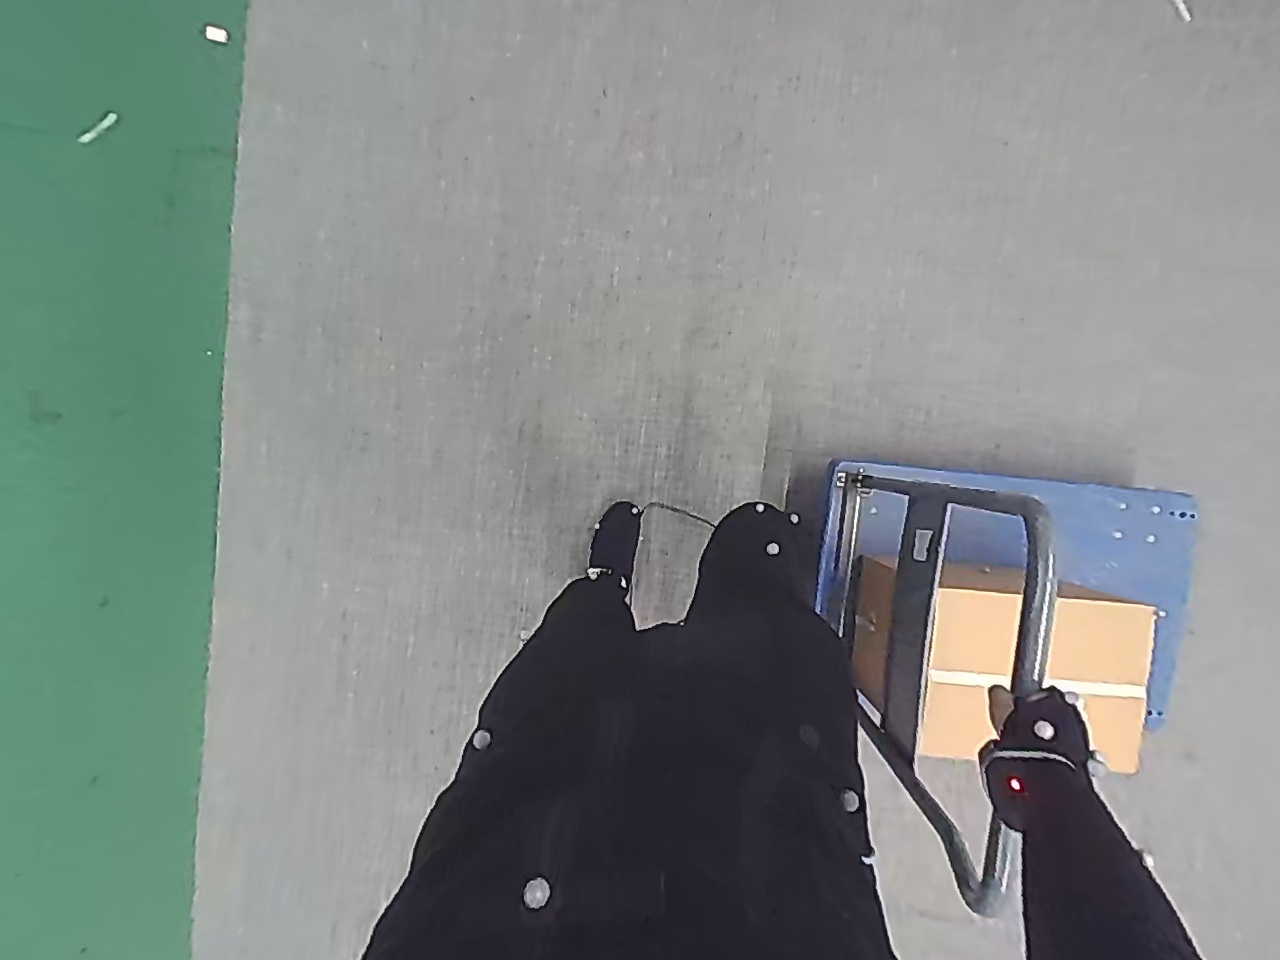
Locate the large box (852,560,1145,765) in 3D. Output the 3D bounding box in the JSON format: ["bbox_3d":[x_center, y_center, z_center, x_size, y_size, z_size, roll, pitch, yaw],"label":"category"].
[{"bbox_3d":[0.709,0.356,1.134,0.408,0.320,0.320,5,93,-2],"label":"large box"}]
